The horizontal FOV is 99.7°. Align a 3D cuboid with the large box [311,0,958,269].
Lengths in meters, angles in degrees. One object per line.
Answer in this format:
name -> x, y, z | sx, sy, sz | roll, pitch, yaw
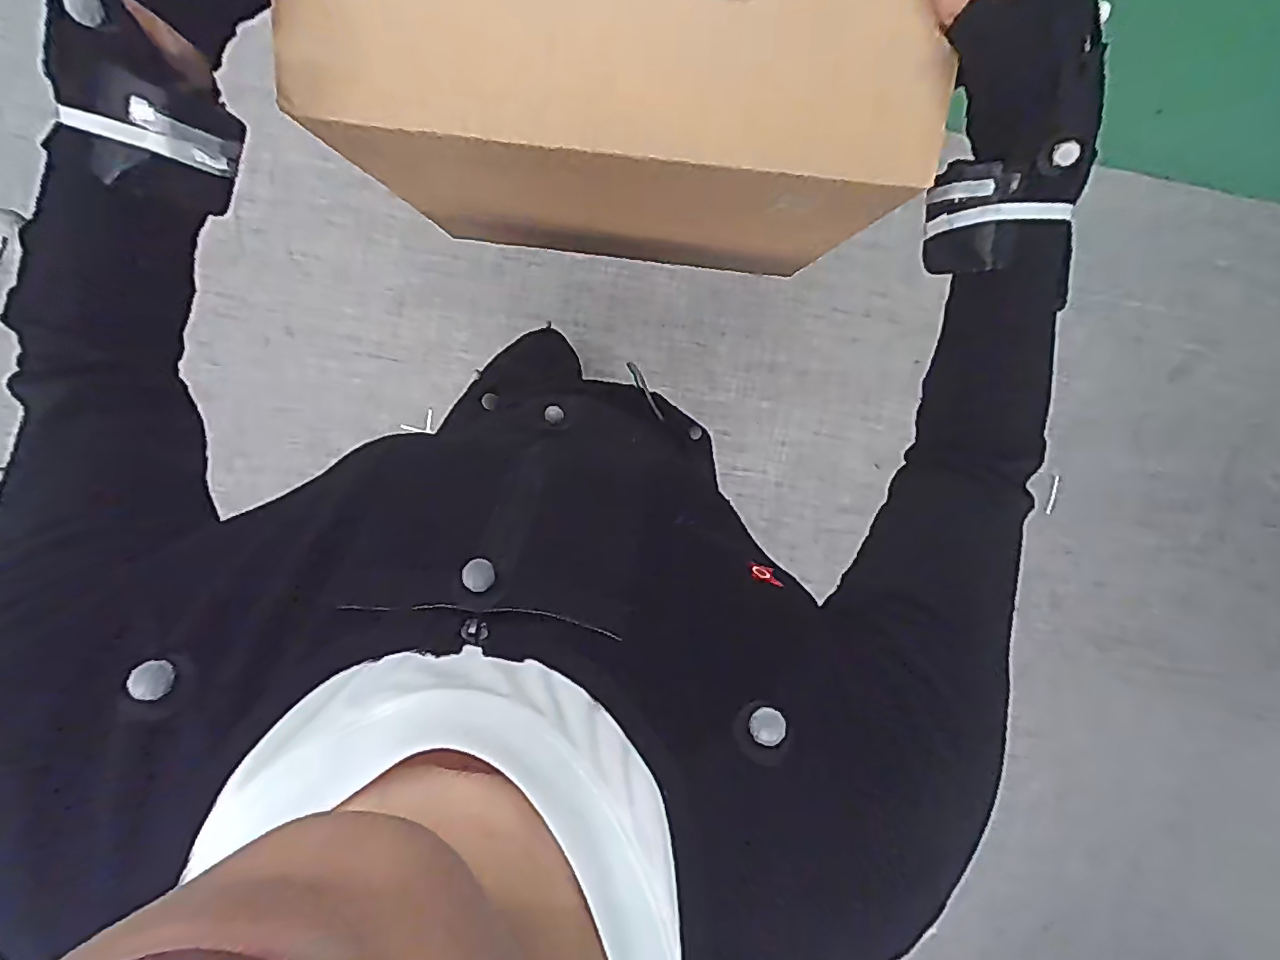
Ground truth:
large box -> 0.002, -0.387, 0.466 | 0.408, 0.320, 0.320 | 5, 101, -1
